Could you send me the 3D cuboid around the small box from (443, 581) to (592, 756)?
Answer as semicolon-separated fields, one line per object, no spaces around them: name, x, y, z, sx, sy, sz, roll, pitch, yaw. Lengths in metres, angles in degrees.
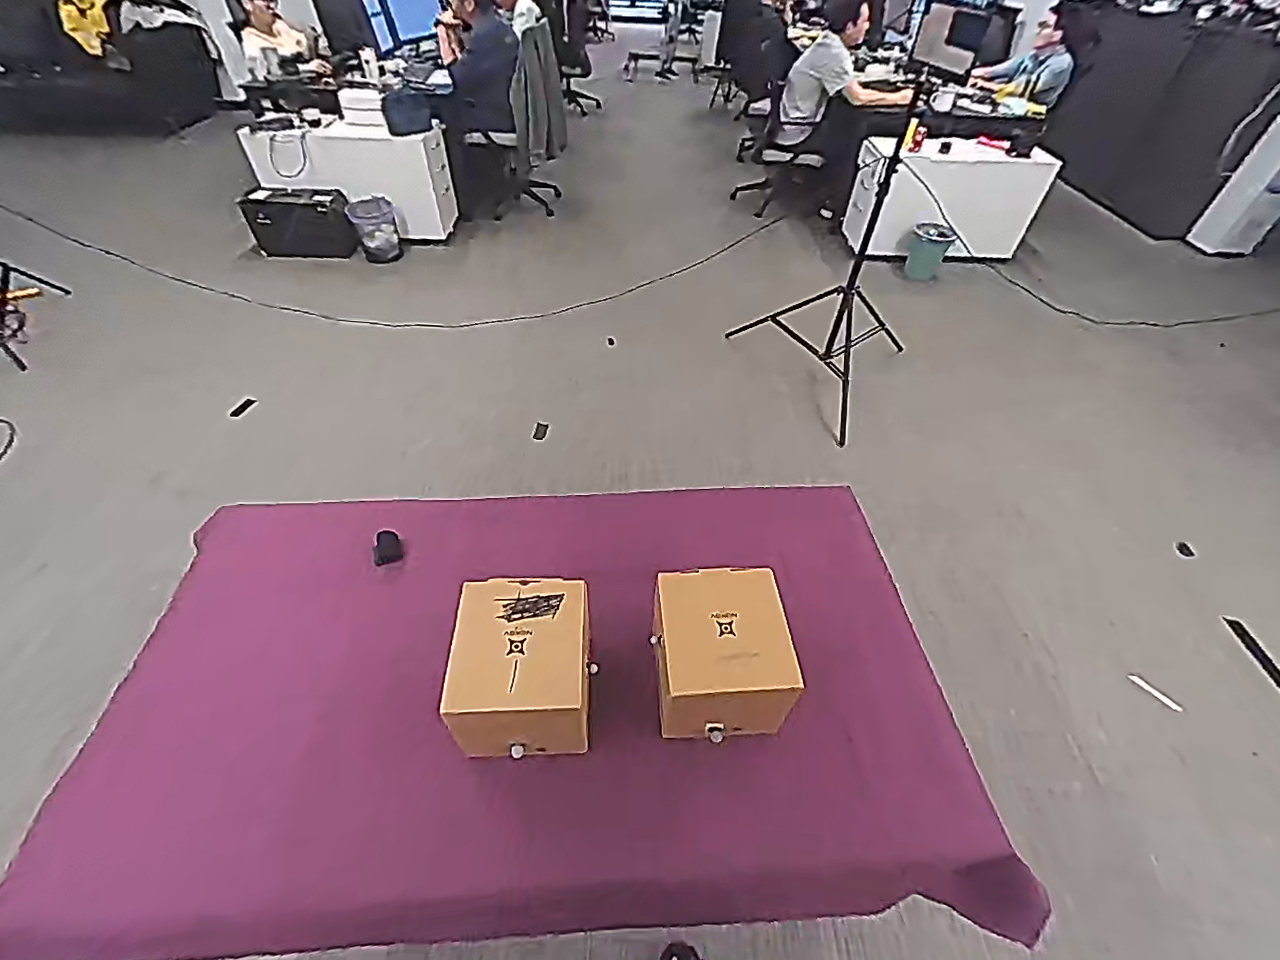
small box;-0.153;0.257;0.740;0.168;0.176;0.179;-1;47;-3

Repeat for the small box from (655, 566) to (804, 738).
small box;0.112;0.243;0.767;0.168;0.176;0.179;-3;47;-4
